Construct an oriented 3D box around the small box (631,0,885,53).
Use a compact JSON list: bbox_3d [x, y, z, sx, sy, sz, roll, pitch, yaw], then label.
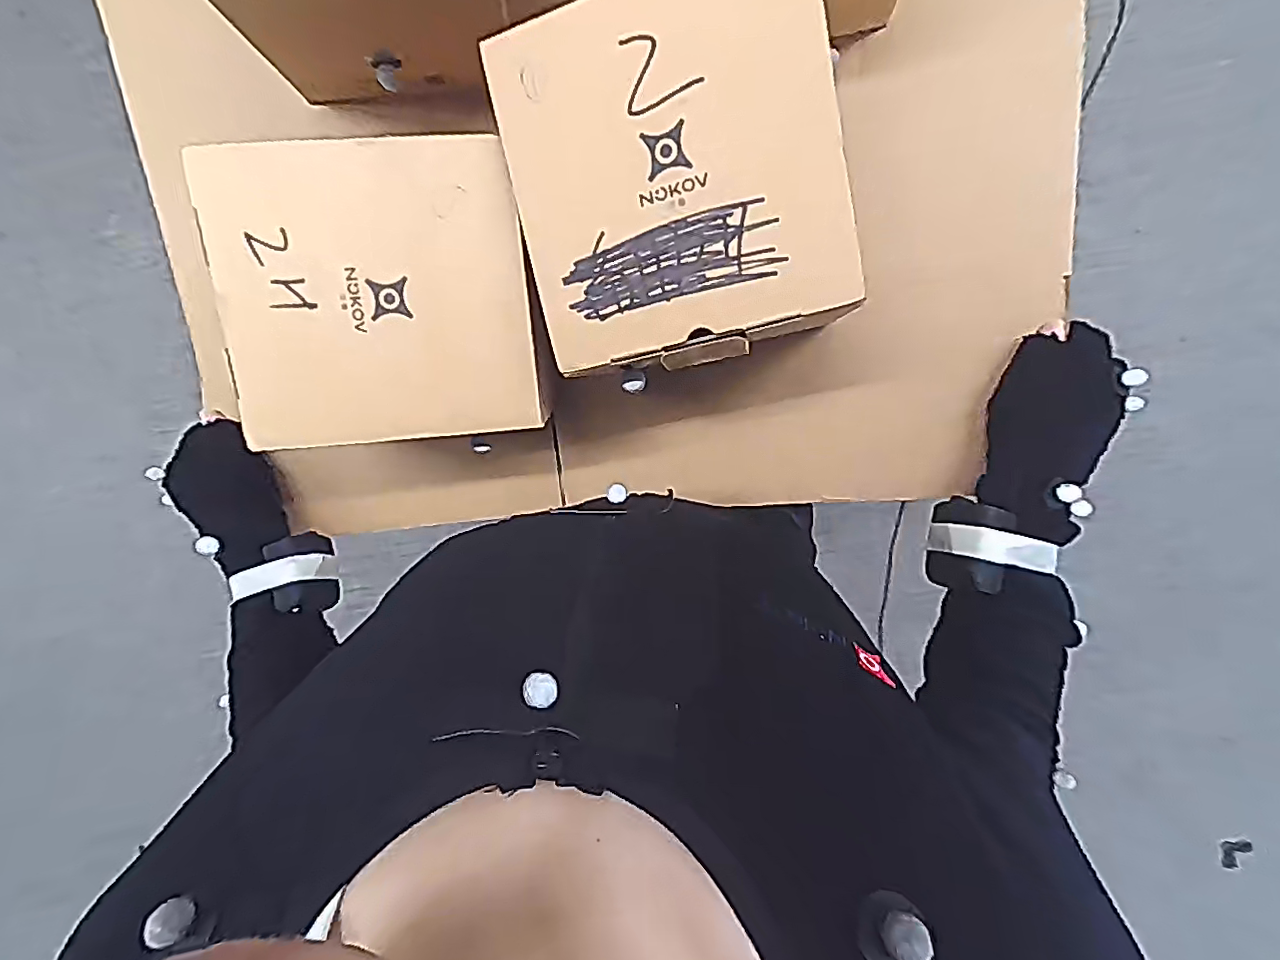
[{"bbox_3d":[0.065,-0.377,0.297,0.168,0.176,0.179,-2,101,13],"label":"small box"}]
